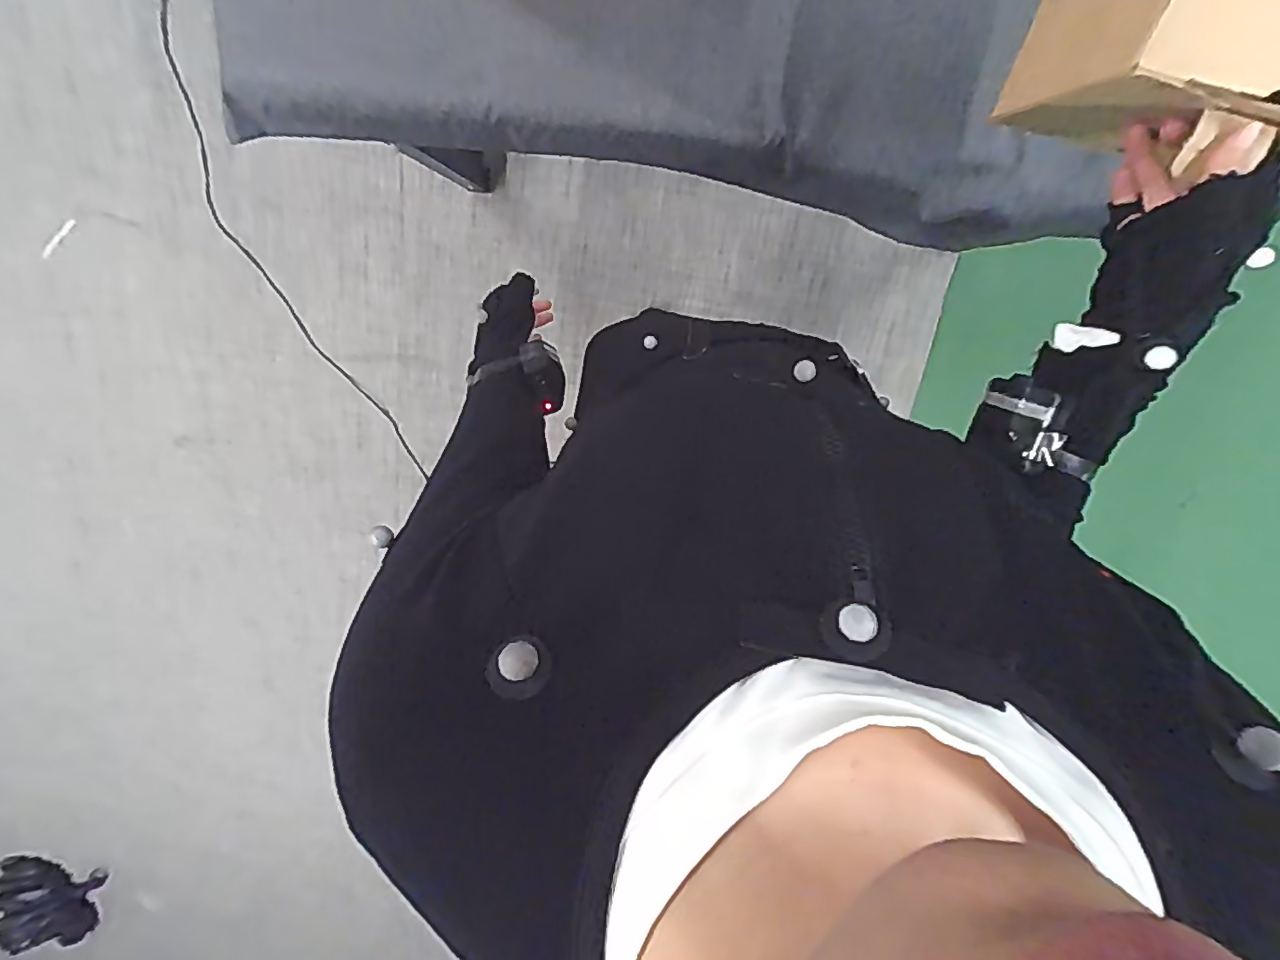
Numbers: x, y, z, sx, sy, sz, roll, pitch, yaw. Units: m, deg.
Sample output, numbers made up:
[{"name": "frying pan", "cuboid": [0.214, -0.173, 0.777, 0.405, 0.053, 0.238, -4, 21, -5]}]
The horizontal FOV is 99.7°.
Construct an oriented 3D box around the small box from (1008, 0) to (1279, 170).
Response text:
[{"name": "small box", "cuboid": [0.377, -0.311, 0.338, 0.168, 0.176, 0.179, 14, 117, -1]}]
